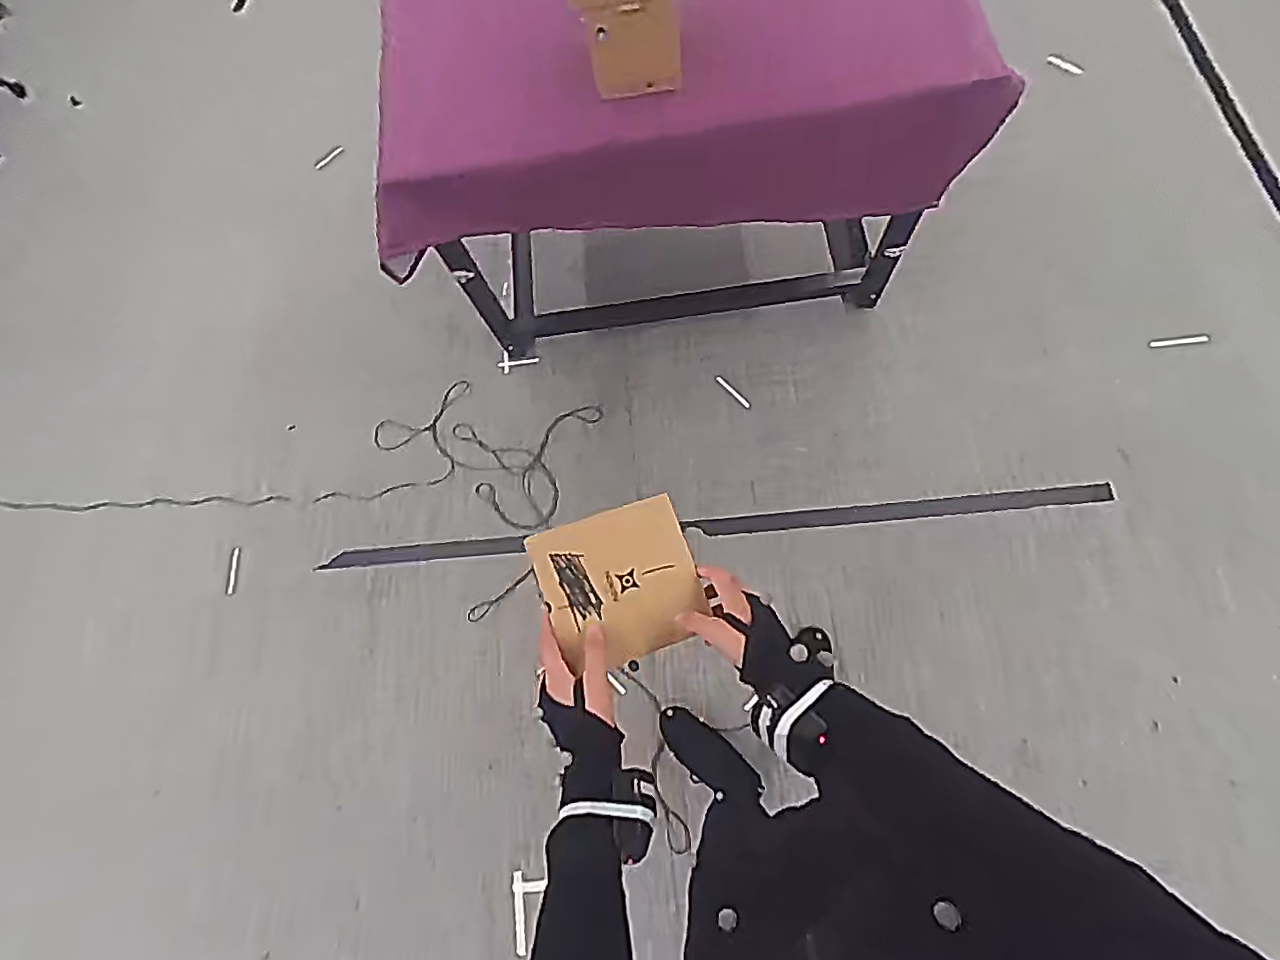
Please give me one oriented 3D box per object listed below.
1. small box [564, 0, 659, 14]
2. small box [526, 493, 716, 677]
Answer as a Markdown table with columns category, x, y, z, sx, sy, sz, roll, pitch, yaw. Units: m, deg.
| category | x | y | z | sx | sy | sz | roll | pitch | yaw |
| --- | --- | --- | --- | --- | --- | --- | --- | --- | --- |
| small box | -0.053 | -0.895 | 0.865 | 0.179 | 0.176 | 0.168 | -5 | 73 | 5 |
| small box | -0.028 | 0.137 | 0.678 | 0.179 | 0.176 | 0.168 | -18 | 74 | -11 |
